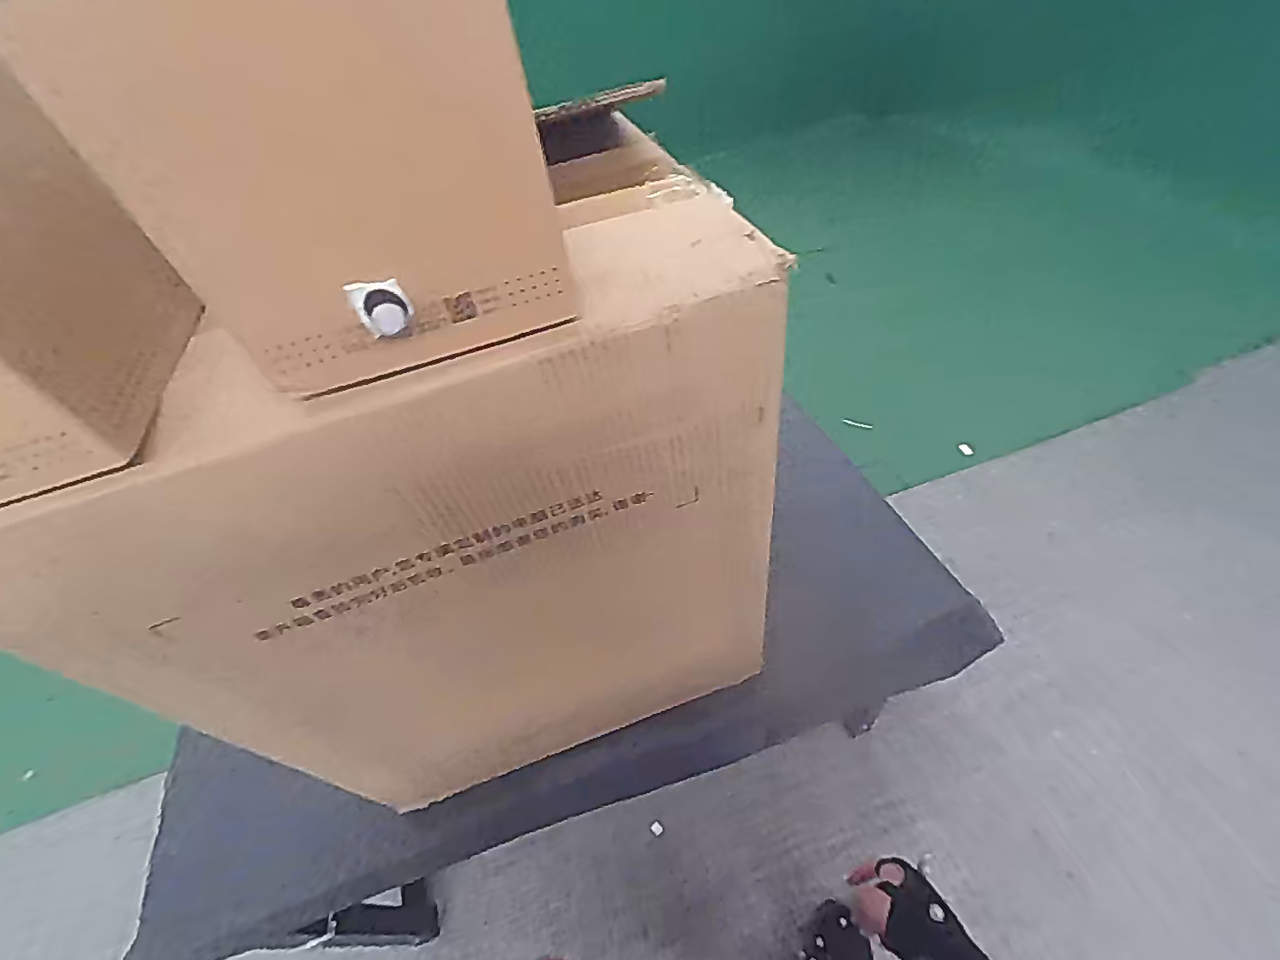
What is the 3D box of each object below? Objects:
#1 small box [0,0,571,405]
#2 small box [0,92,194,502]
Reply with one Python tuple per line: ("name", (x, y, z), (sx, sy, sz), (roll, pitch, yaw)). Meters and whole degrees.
("small box", (-0.150, -0.172, 0.292), (0.168, 0.176, 0.179), (-20, 50, -6))
("small box", (-0.374, -0.090, 0.265), (0.168, 0.176, 0.179), (-19, 49, -4))
